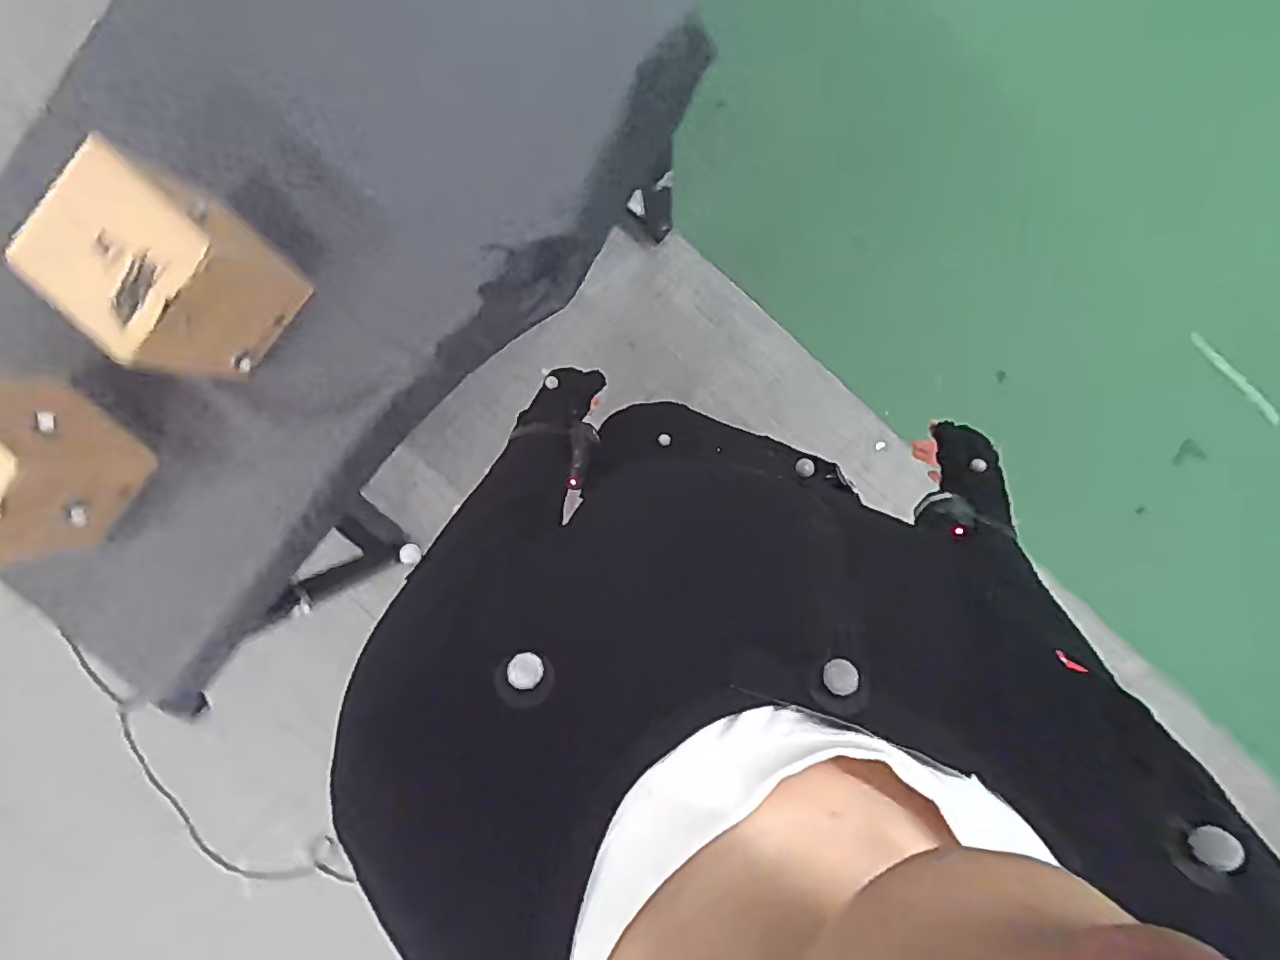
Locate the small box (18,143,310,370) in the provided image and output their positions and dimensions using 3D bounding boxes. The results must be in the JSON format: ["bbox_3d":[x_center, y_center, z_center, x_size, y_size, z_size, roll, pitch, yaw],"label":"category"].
[{"bbox_3d":[-0.562,-0.253,0.665,0.179,0.176,0.168,42,96,0],"label":"small box"}]
